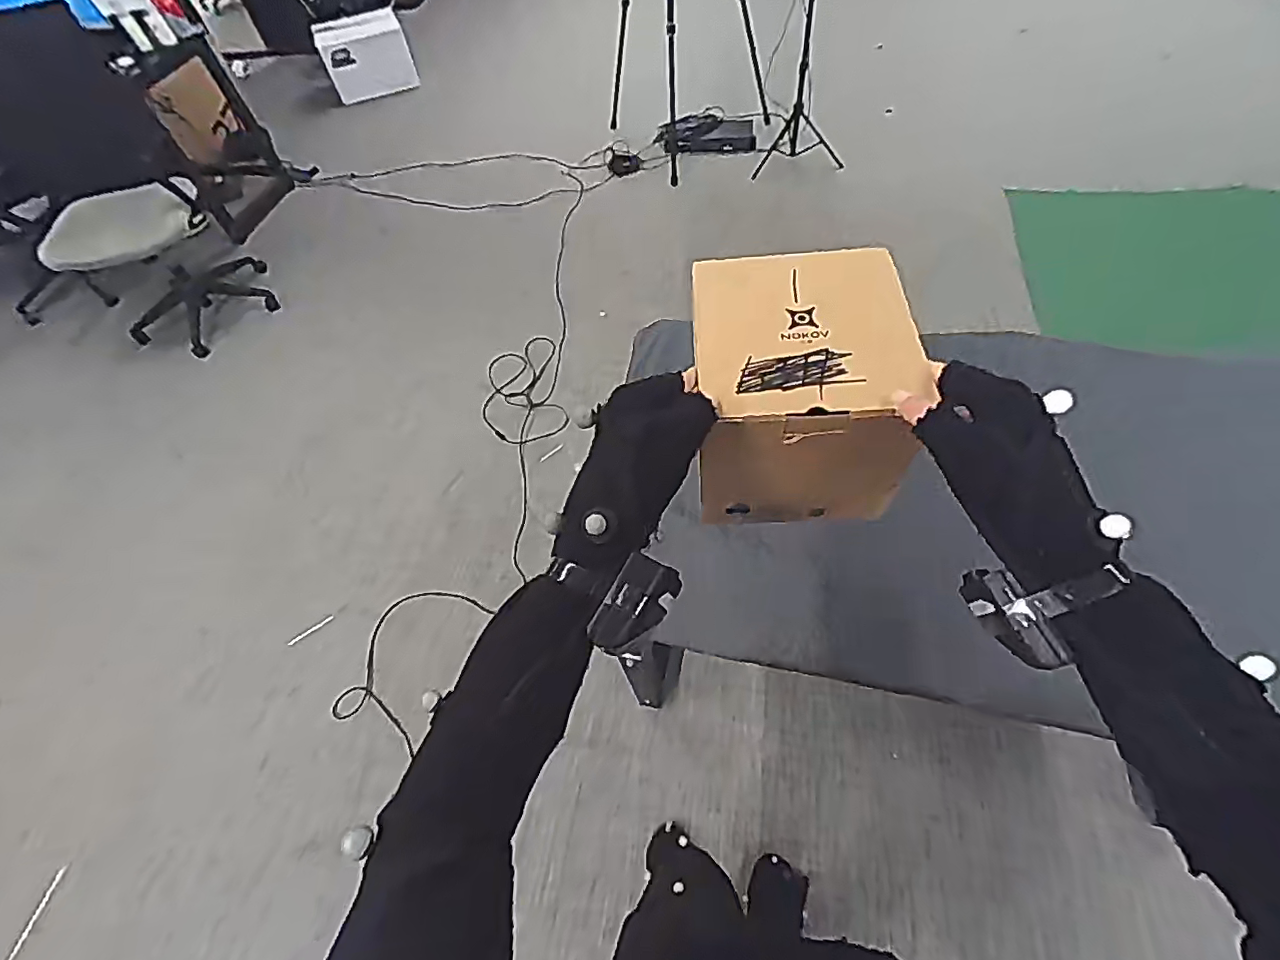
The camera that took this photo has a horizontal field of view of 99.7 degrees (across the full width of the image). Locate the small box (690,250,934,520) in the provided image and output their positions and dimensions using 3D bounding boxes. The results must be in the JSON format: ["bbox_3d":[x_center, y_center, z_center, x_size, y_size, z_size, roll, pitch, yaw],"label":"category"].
[{"bbox_3d":[0.131,-0.073,0.483,0.168,0.176,0.179,-2,57,6],"label":"small box"}]
